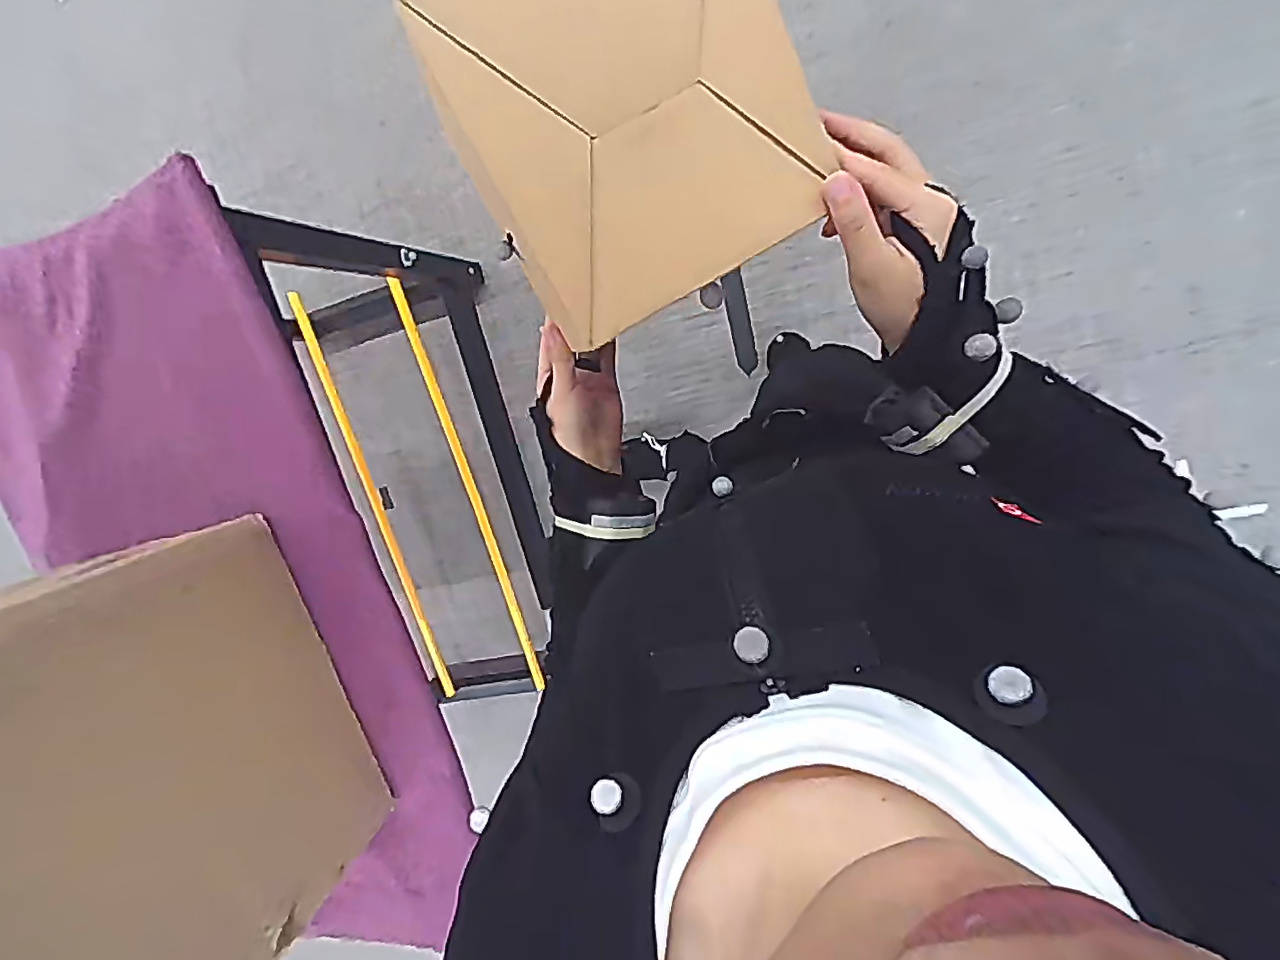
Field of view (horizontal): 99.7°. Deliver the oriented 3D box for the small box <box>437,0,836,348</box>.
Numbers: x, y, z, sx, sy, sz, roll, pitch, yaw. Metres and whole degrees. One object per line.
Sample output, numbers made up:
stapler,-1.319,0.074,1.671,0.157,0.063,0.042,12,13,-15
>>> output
small box,-0.007,-0.202,0.343,0.168,0.176,0.179,-30,106,-3
